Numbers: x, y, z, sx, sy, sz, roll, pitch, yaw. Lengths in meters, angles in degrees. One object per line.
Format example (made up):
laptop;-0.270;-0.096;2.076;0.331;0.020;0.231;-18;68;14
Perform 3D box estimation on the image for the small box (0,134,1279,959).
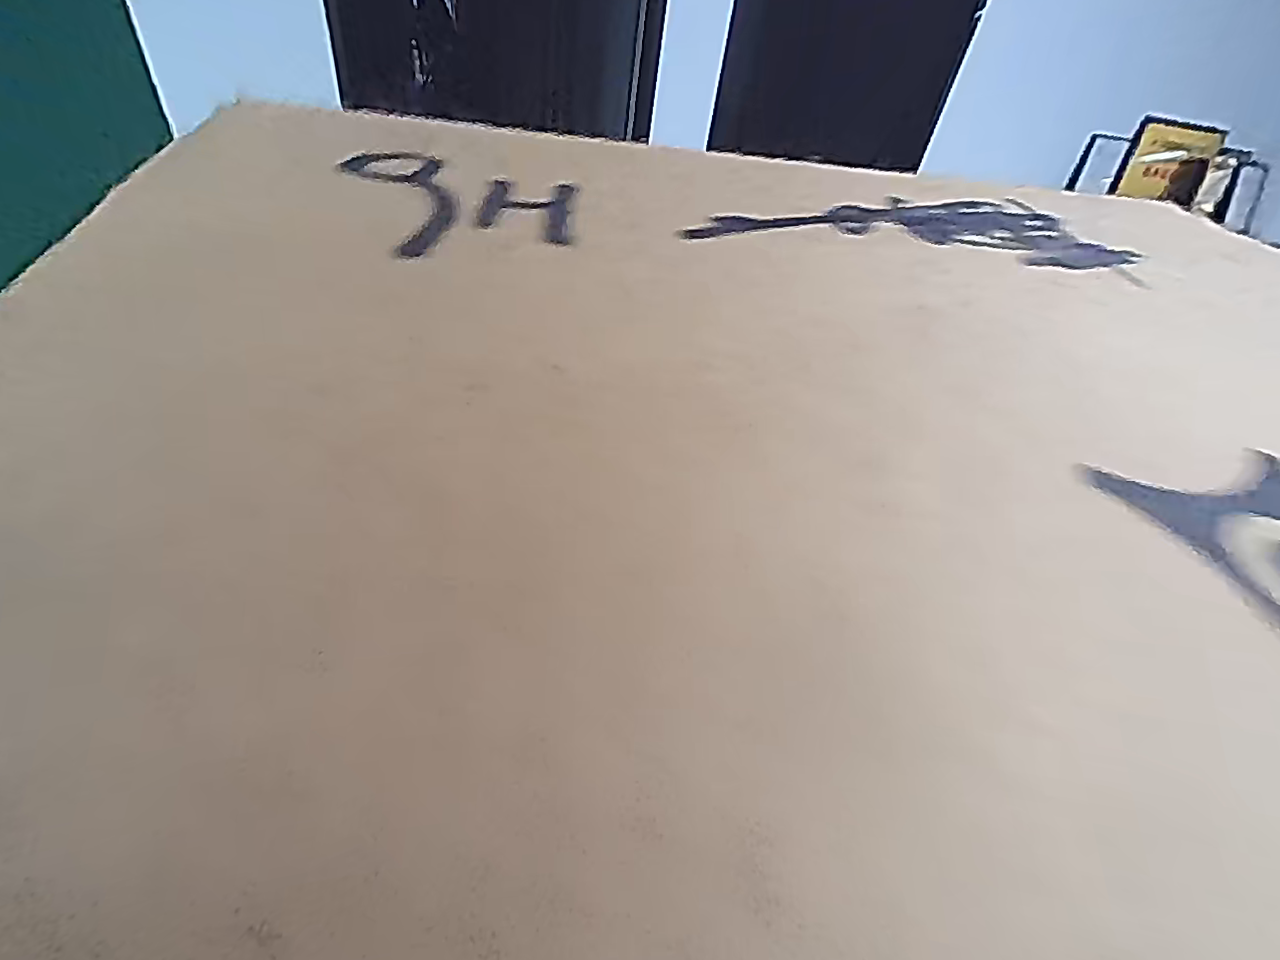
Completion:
small box;0.024;0.068;0.097;0.168;0.176;0.179;-3;49;-15
